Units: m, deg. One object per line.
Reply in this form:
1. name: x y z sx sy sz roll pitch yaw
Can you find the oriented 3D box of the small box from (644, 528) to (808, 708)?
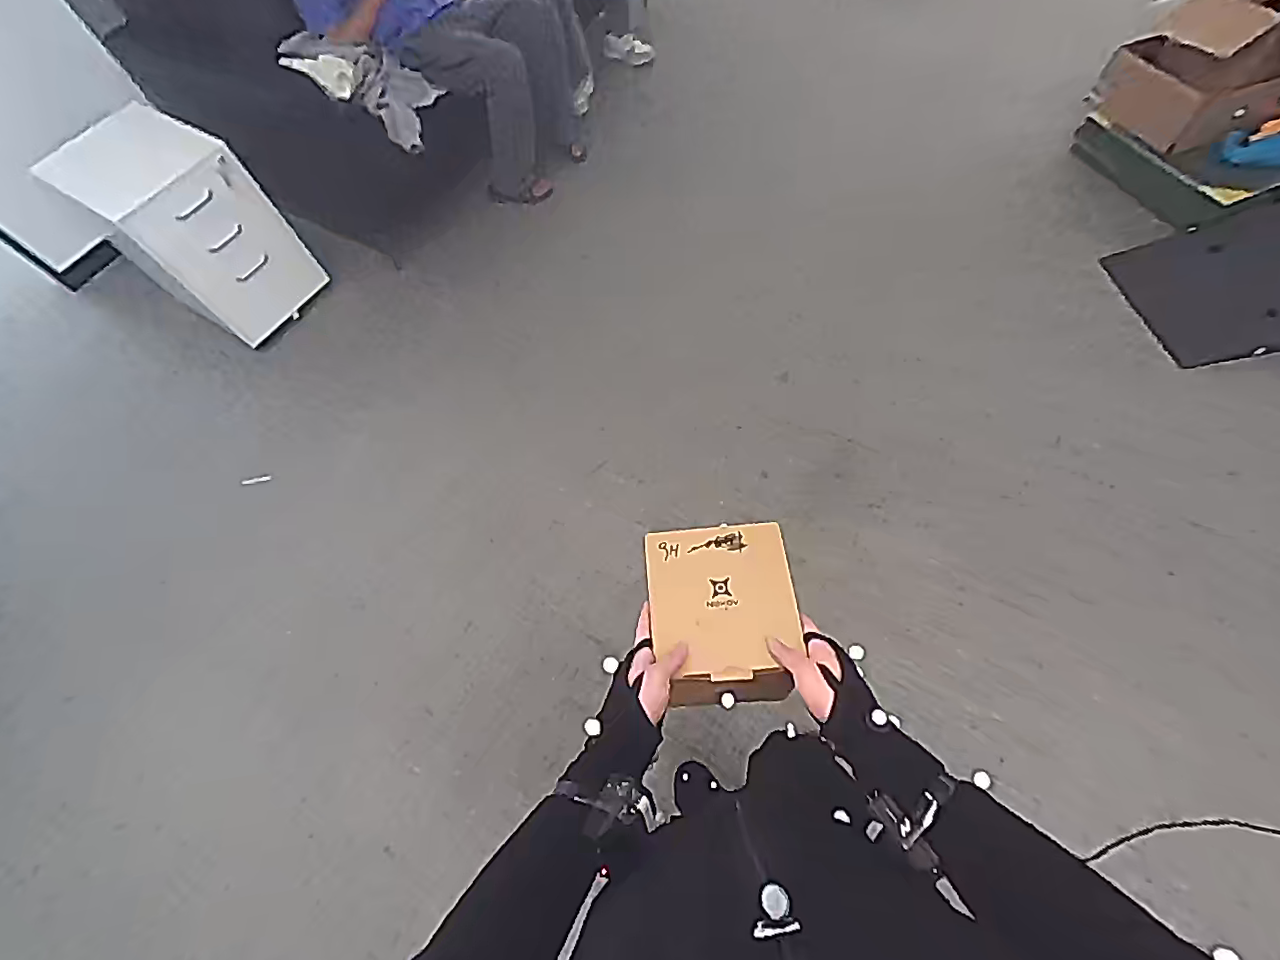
1. small box: 0.101 0.185 0.693 0.168 0.176 0.179 -8 58 1
